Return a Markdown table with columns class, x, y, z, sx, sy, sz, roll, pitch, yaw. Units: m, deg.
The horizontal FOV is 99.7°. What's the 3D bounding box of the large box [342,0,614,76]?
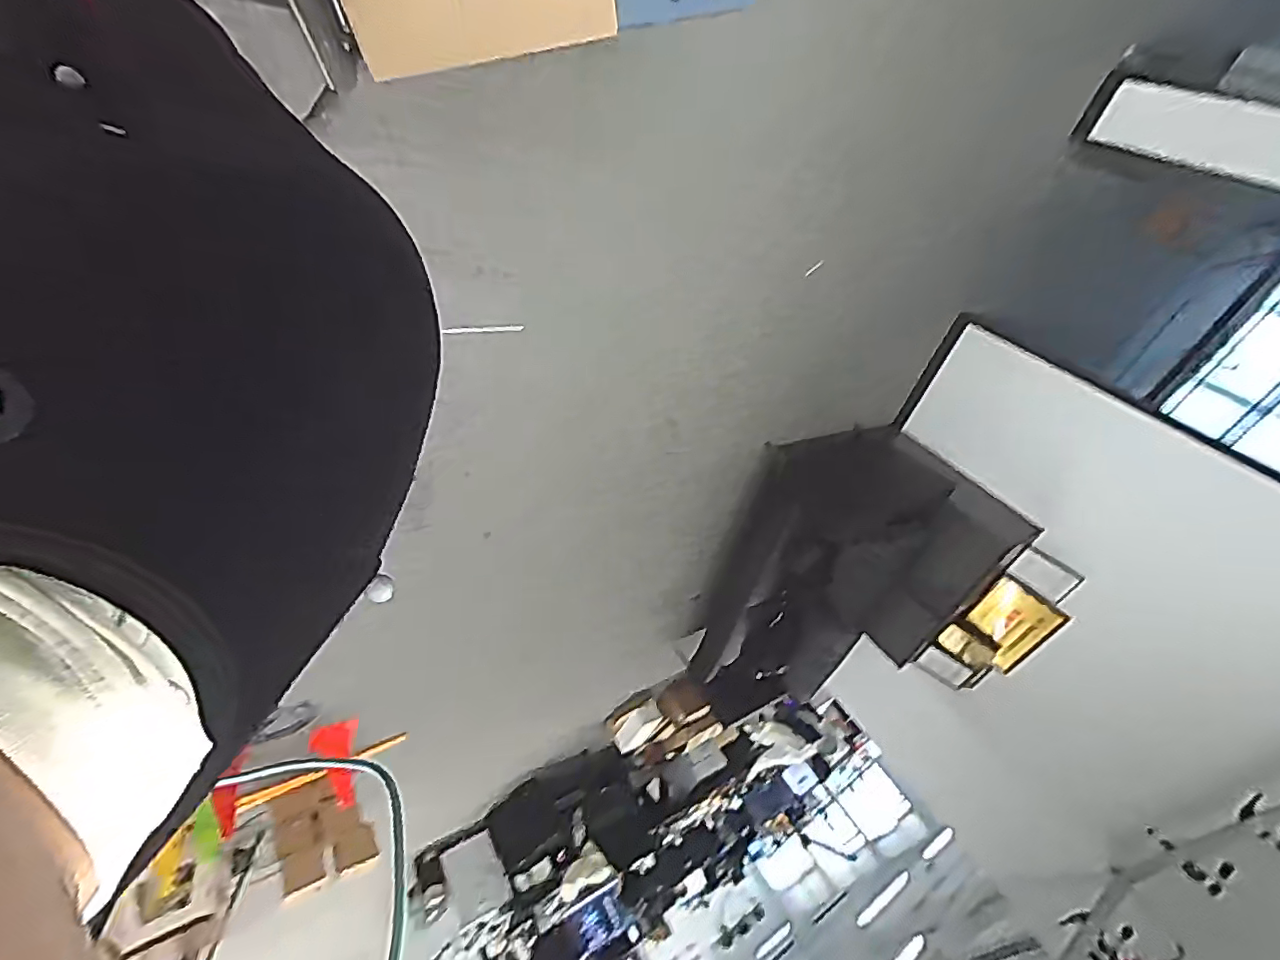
| class | x | y | z | sx | sy | sz | roll | pitch | yaw |
| --- | --- | --- | --- | --- | --- | --- | --- | --- | --- |
| large box | -0.286 | -0.891 | 0.844 | 0.408 | 0.320 | 0.320 | -15 | 141 | -5 |
